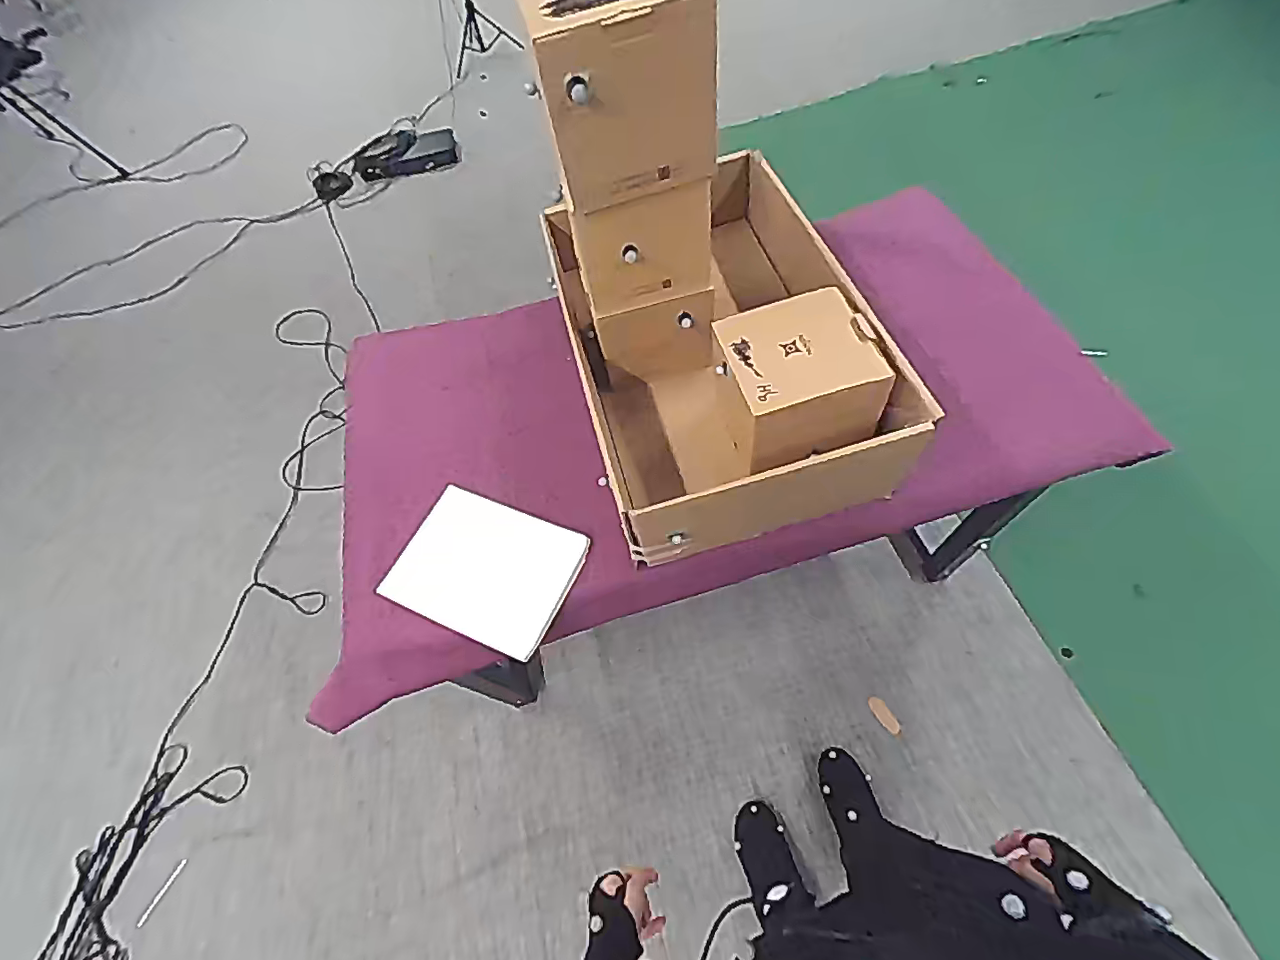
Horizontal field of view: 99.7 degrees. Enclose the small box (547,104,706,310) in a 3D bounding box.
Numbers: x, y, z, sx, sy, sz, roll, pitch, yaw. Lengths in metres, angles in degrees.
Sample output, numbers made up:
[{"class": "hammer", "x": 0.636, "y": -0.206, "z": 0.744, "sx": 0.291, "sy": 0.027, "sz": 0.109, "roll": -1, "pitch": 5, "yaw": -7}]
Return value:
[{"class": "small box", "x": -0.012, "y": -0.351, "z": 0.721, "sx": 0.168, "sy": 0.176, "sz": 0.179, "roll": -15, "pitch": 61, "yaw": 0}]
